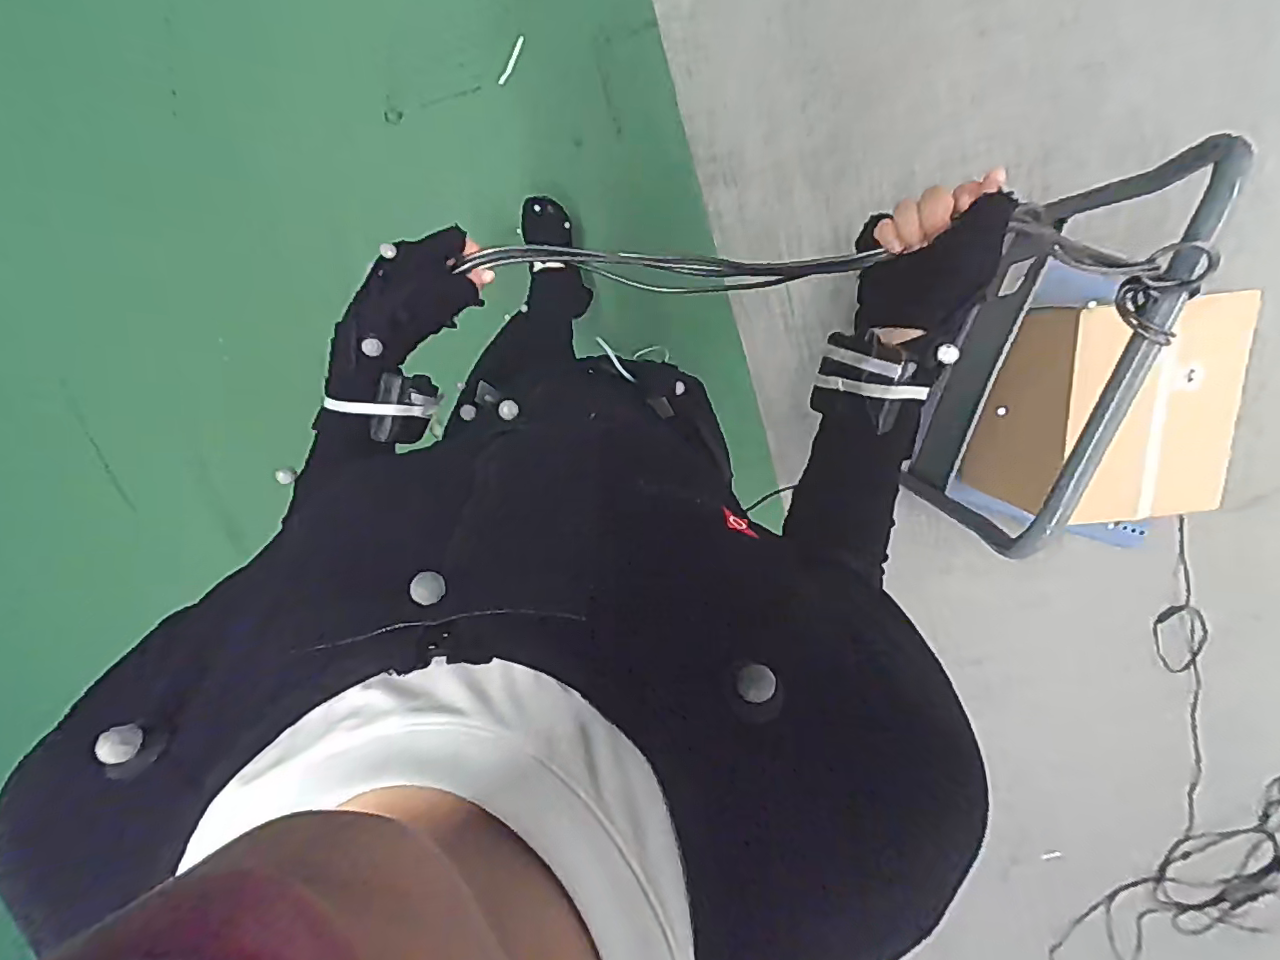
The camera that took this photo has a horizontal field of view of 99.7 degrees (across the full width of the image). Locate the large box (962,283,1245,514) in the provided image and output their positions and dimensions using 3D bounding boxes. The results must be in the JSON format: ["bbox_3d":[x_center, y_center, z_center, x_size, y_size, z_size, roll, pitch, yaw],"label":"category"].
[{"bbox_3d":[0.922,-0.177,1.137,0.320,0.320,0.408,-6,106,0],"label":"large box"}]
